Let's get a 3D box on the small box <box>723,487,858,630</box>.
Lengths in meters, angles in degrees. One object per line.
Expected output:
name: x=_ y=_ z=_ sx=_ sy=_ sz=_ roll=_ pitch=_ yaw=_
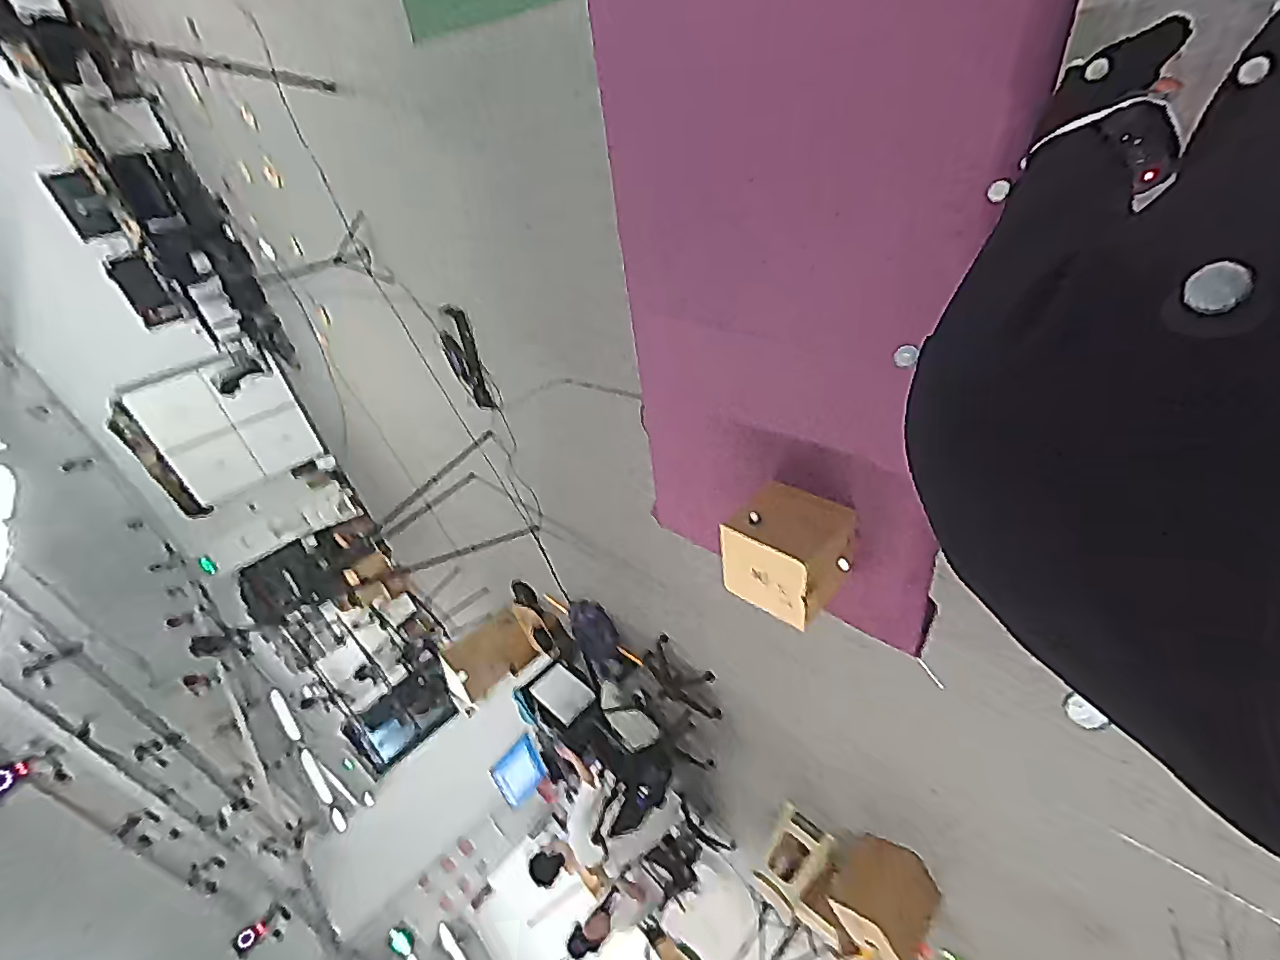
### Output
small box: x=0.274 y=0.134 z=1.000 sx=0.179 sy=0.176 sz=0.168 roll=24 pitch=136 yaw=39
